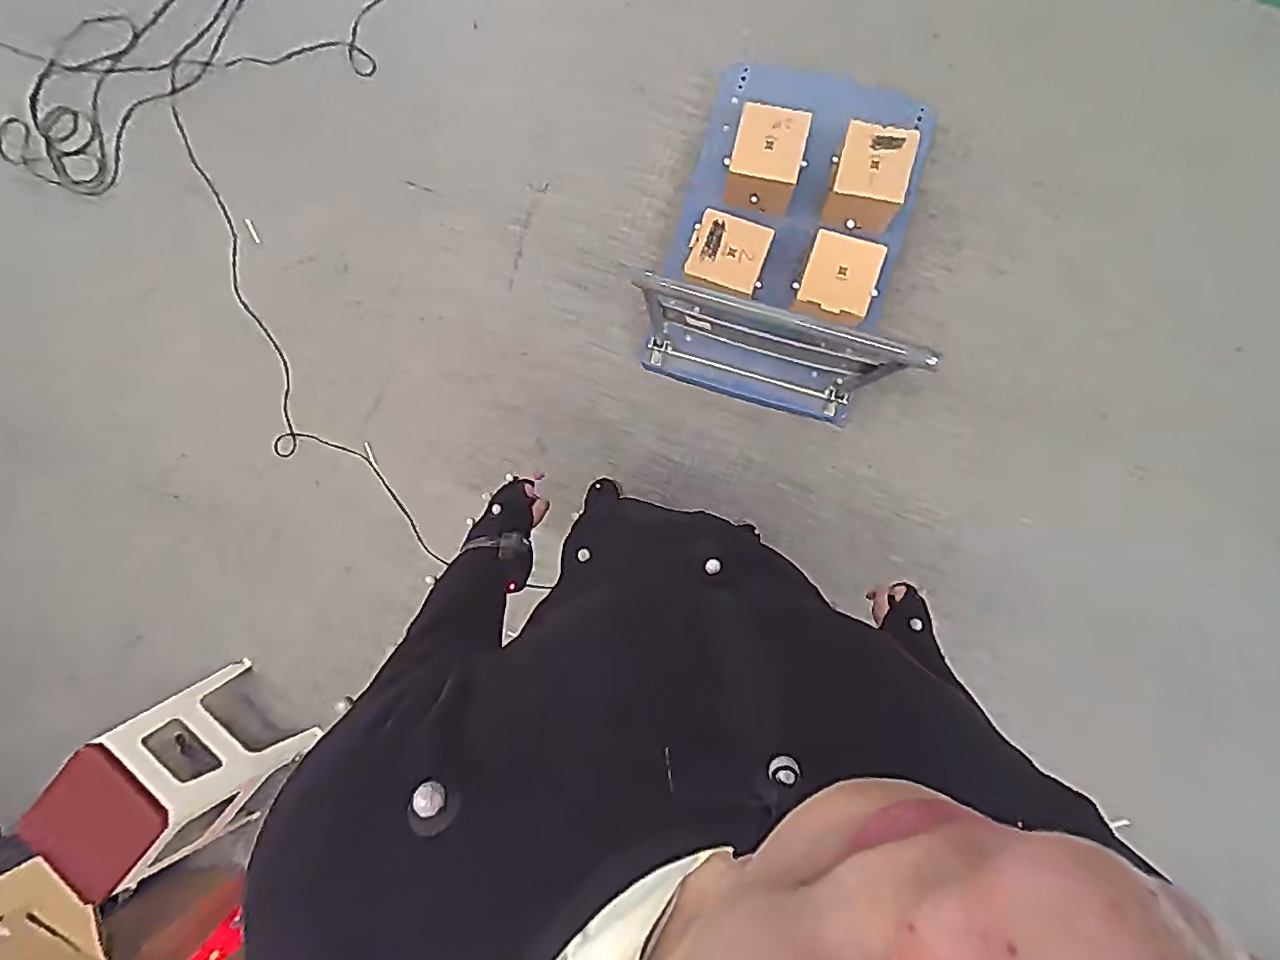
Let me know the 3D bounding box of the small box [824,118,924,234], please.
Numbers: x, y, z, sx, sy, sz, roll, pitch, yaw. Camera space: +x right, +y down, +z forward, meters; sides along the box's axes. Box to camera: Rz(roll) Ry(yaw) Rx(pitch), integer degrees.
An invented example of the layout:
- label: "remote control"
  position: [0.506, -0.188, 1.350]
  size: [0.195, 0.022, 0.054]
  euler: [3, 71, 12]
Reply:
- label: "small box"
  position: [0.570, -0.746, 1.341]
  size: [0.168, 0.176, 0.179]
  euler: [14, 92, 6]

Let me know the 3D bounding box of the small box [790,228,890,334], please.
- label: "small box"
  position: [0.489, -0.488, 1.348]
  size: [0.168, 0.176, 0.179]
  euler: [19, 92, 5]

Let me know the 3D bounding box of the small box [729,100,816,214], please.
- label: "small box"
  position: [0.325, -0.806, 1.365]
  size: [0.168, 0.176, 0.179]
  euler: [14, 91, 5]
